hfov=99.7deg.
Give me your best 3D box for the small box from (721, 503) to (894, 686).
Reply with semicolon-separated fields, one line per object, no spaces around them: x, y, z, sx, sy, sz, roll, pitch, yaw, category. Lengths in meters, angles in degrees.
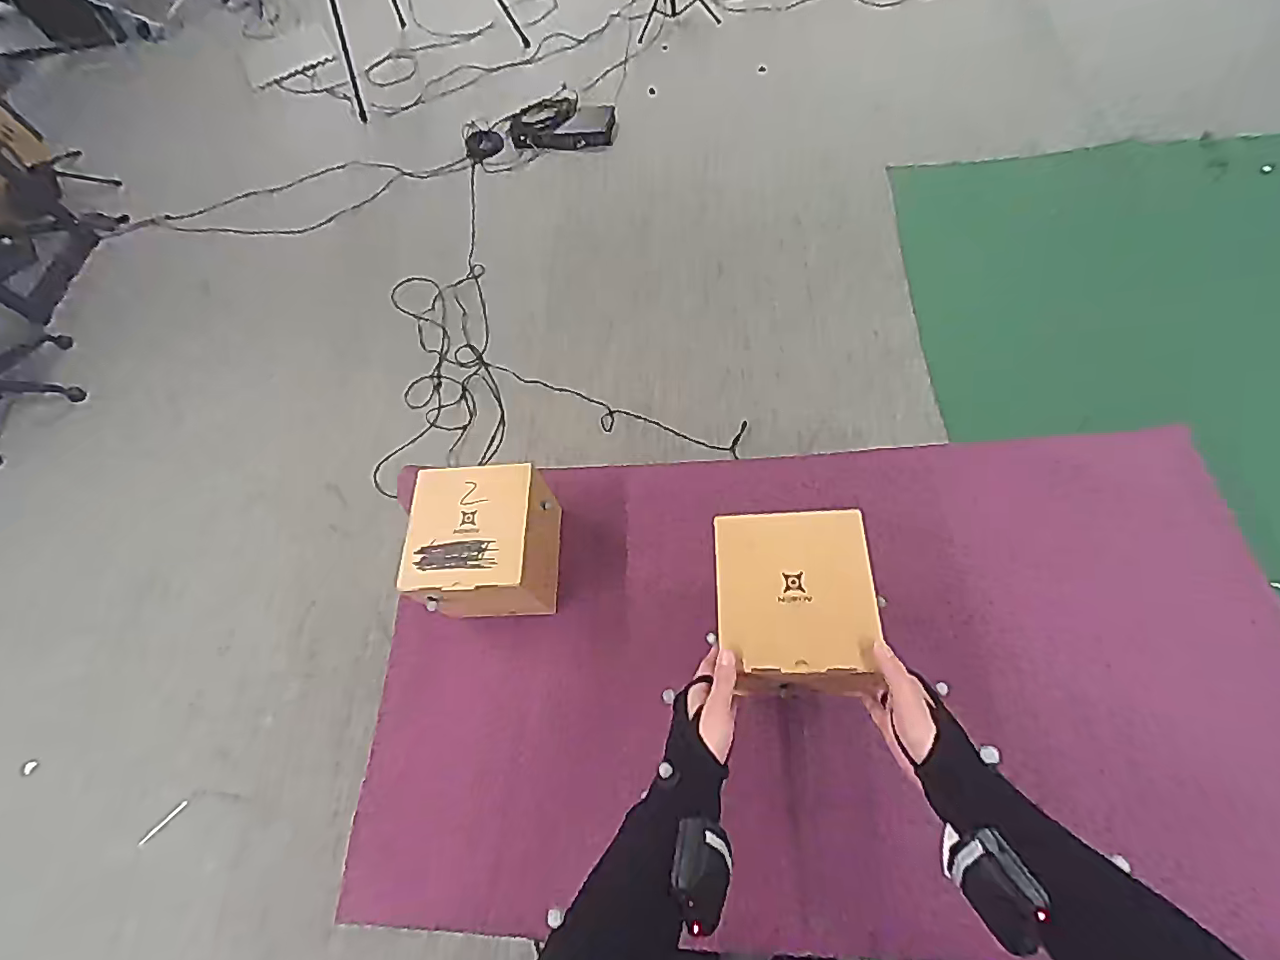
0.183;0.142;0.645;0.168;0.176;0.179;-3;62;9;small box
